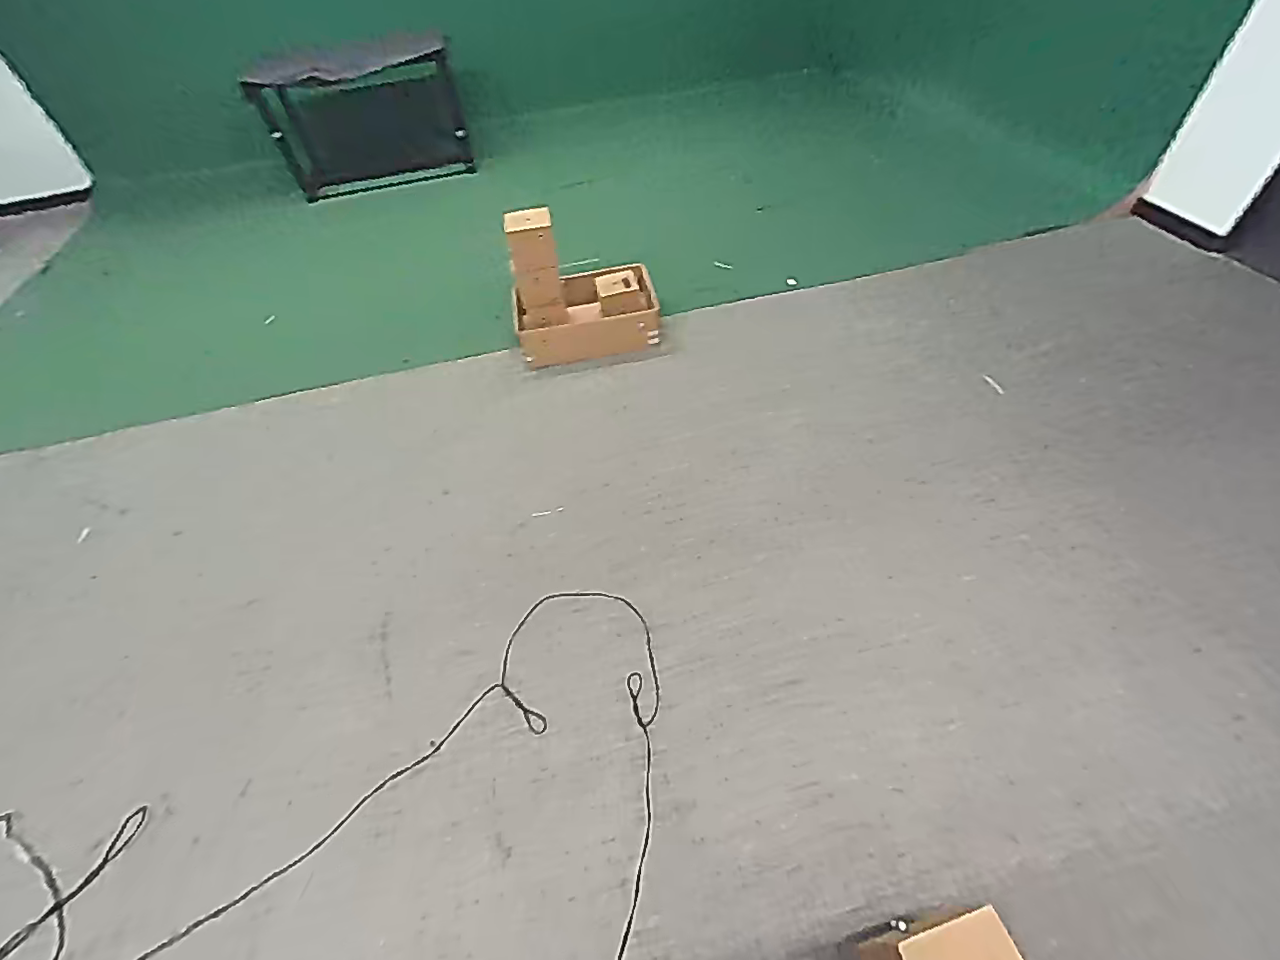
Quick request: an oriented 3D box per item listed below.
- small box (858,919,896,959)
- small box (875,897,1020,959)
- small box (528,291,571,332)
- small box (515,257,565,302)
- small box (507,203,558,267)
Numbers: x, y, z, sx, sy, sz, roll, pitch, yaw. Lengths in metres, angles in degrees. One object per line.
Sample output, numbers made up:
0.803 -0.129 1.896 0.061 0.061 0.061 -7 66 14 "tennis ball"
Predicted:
0.528 0.926 1.006 0.179 0.176 0.168 -14 51 -5 "small box"
0.512 0.816 0.886 0.179 0.176 0.168 -15 52 -8 "small box"
-0.411 -0.784 2.432 0.168 0.176 0.179 -11 52 -4 "small box"
-0.426 -0.878 2.298 0.179 0.176 0.168 -10 52 -4 "small box"
-0.428 -0.982 2.169 0.179 0.176 0.168 -11 51 -3 "small box"
